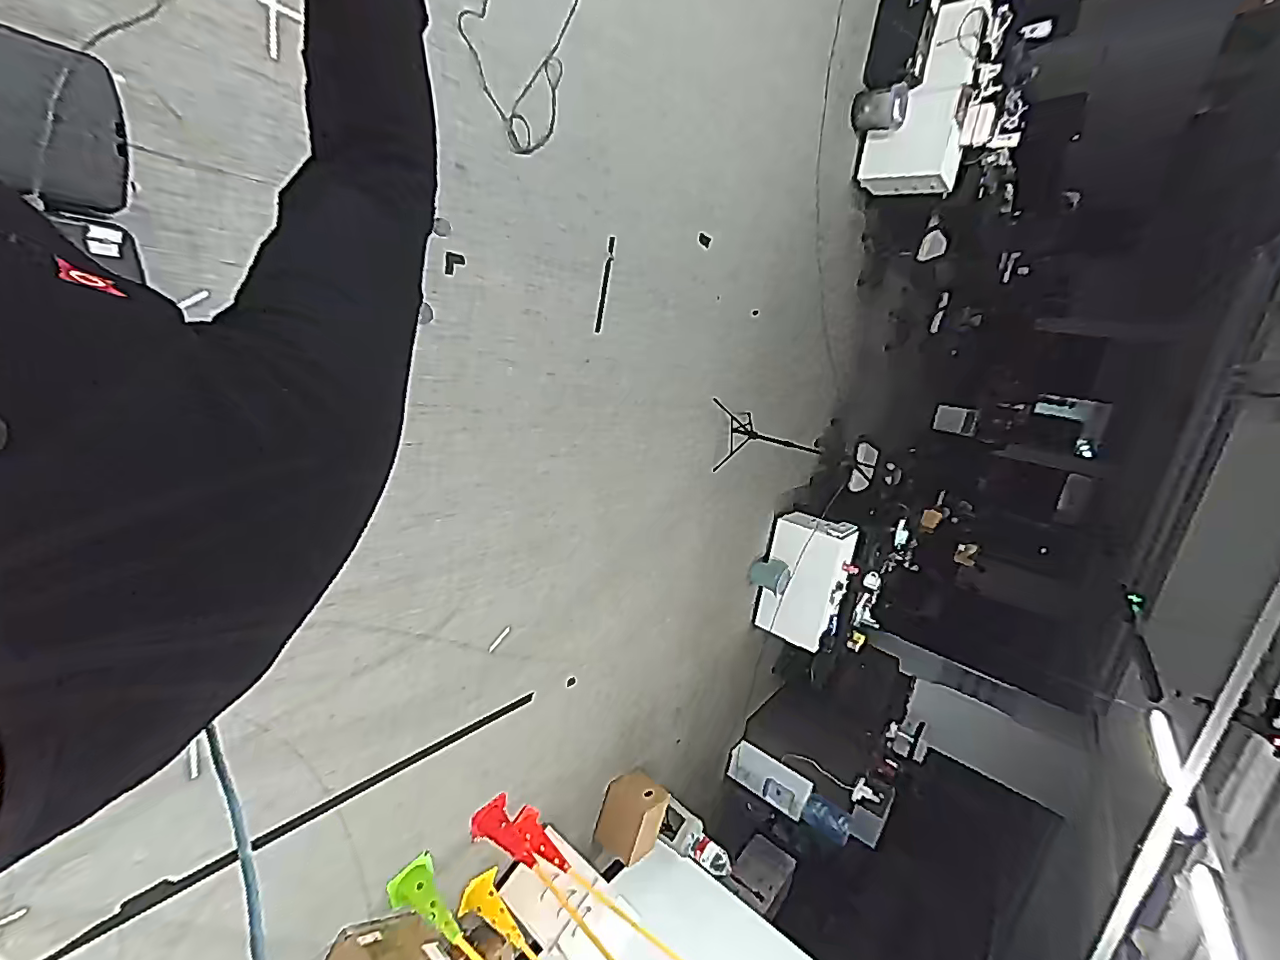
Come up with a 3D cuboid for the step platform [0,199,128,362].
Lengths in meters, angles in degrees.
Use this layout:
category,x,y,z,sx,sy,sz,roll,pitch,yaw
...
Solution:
category,x,y,z,sx,sy,sz,roll,pitch,yaw
step platform,-1.302,-0.350,0.879,0.684,0.204,0.286,-12,115,-49
